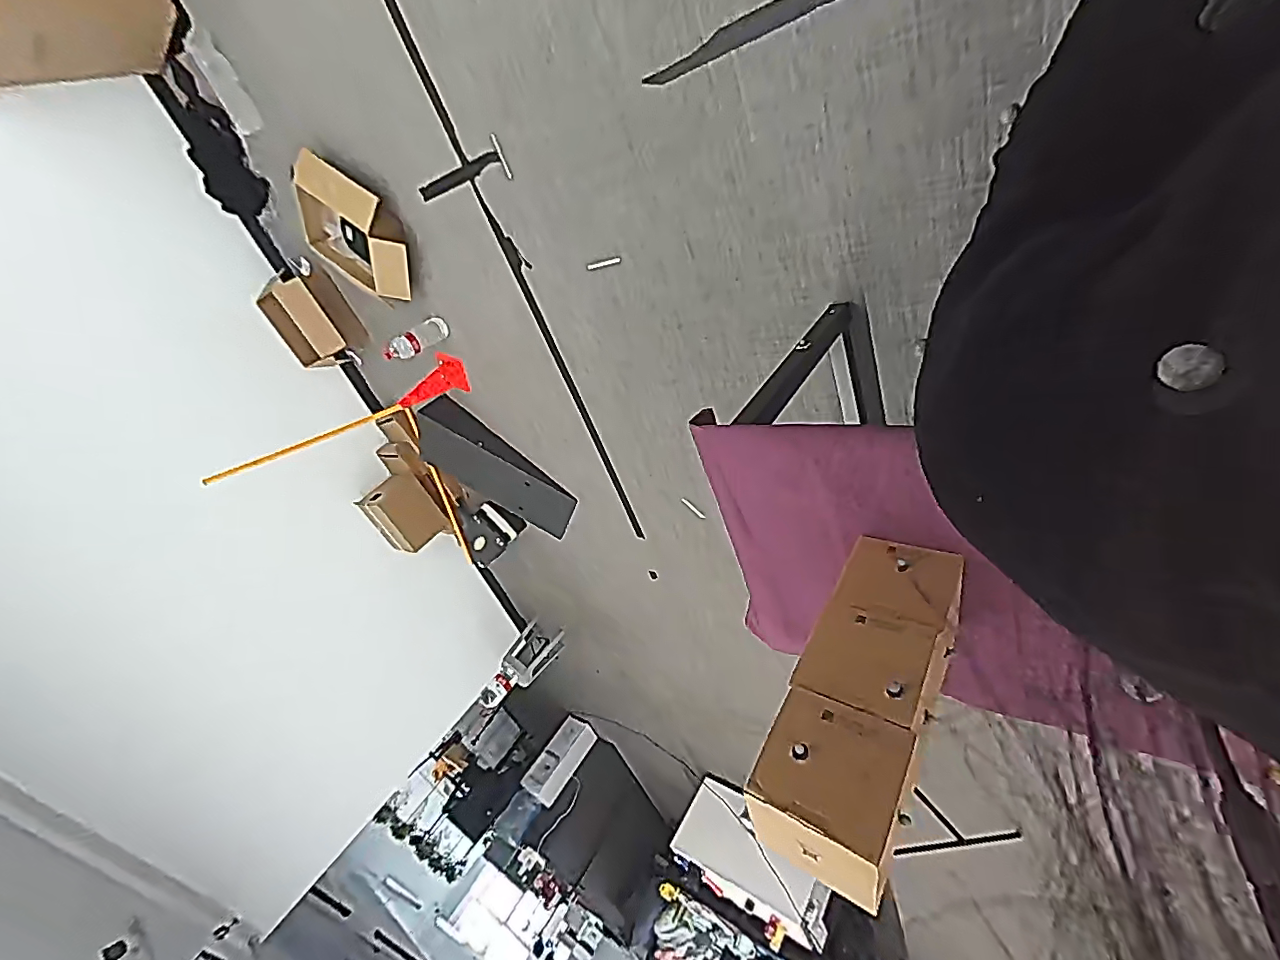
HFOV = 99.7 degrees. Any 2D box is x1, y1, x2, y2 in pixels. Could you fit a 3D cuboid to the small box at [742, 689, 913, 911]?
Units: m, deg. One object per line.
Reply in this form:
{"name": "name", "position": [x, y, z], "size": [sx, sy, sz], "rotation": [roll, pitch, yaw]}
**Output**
{"name": "small box", "position": [0.257, 0.417, 0.728], "size": [0.168, 0.176, 0.179], "rotation": [13, 136, 36]}

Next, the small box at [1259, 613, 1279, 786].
{"name": "small box", "position": [0.812, 0.245, 0.582], "size": [0.168, 0.176, 0.179], "rotation": [7, 130, 39]}

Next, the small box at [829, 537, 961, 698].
{"name": "small box", "position": [0.437, 0.227, 0.924], "size": [0.168, 0.176, 0.179], "rotation": [10, 133, 36]}
